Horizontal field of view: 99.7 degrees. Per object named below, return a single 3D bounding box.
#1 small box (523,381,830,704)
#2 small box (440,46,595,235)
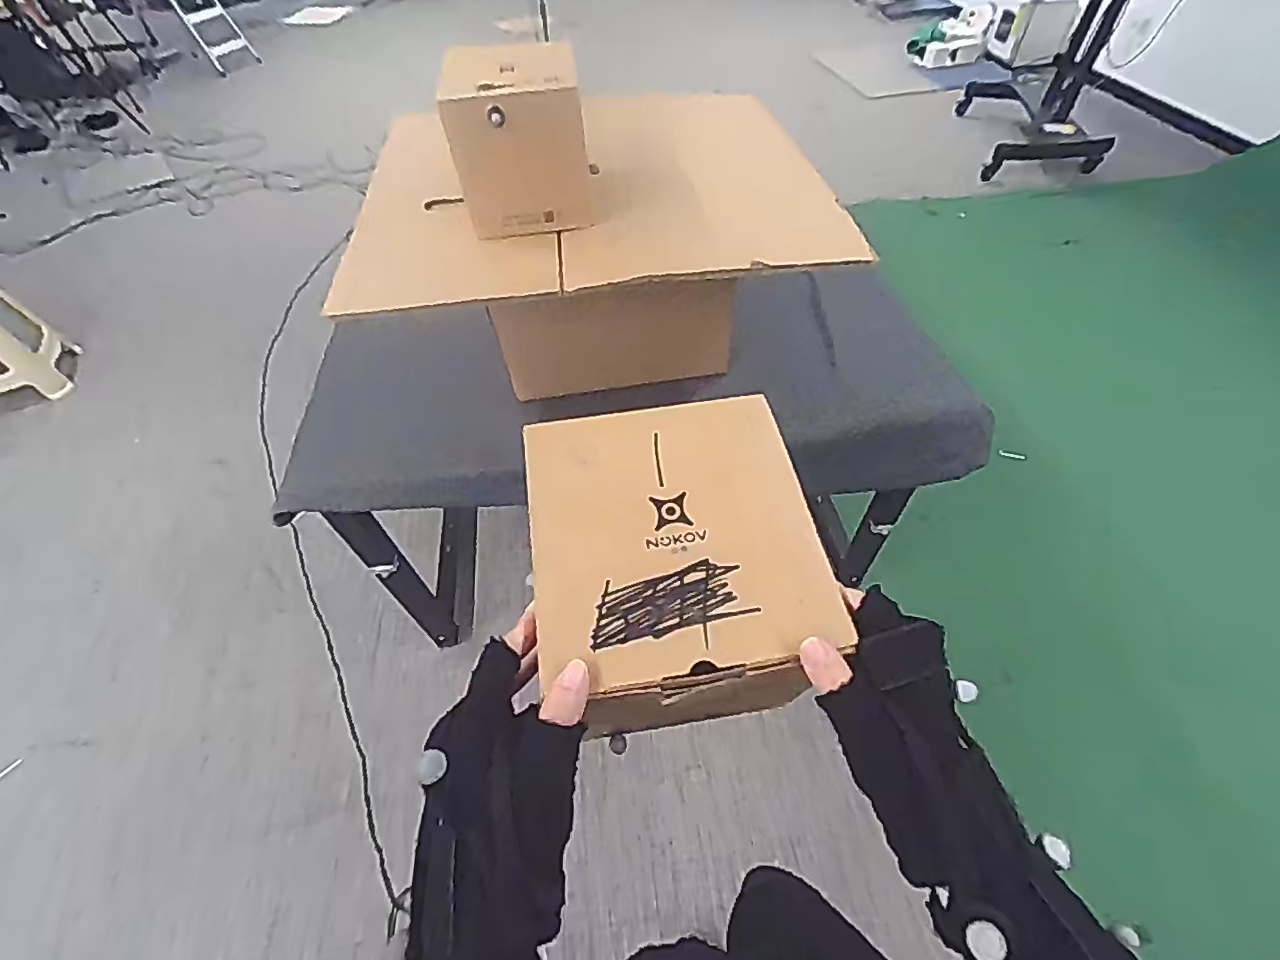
[{"bbox_3d":[0.014,0.056,0.397,0.168,0.176,0.179,-8,58,-4],"label":"small box"},{"bbox_3d":[-0.155,-0.460,0.738,0.168,0.176,0.179,-7,52,-2],"label":"small box"}]
